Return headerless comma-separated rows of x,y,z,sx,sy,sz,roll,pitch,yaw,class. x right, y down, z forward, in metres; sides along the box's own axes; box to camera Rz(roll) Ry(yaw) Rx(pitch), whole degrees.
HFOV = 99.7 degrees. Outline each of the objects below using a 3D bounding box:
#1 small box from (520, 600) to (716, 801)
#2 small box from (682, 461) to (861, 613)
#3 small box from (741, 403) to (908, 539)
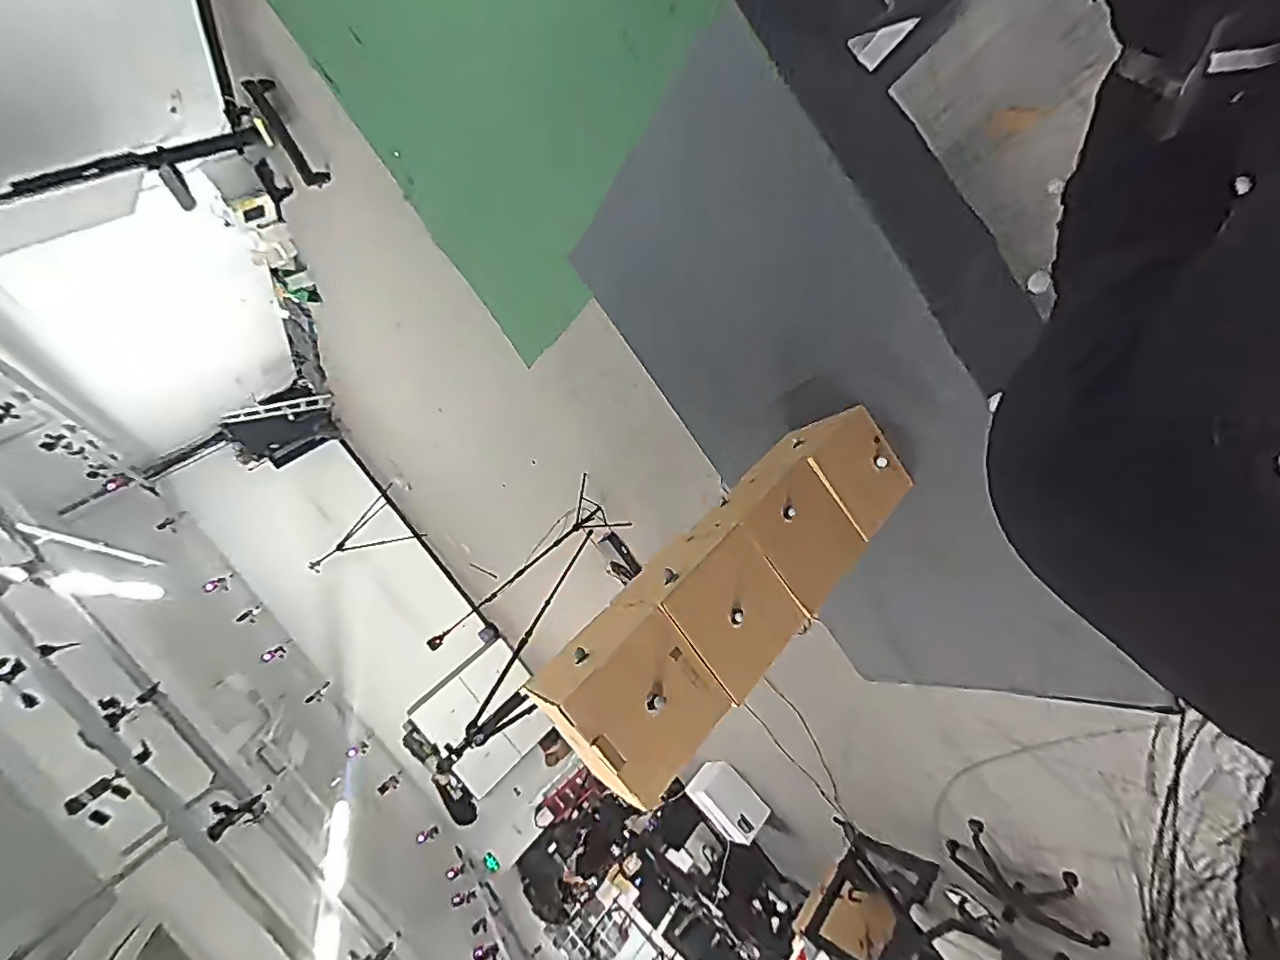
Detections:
-0.025,0.273,0.715,0.168,0.176,0.179,54,151,-6,small box
0.207,0.087,0.854,0.179,0.176,0.168,54,152,-5,small box
0.317,-0.006,0.930,0.168,0.176,0.179,55,150,-7,small box
